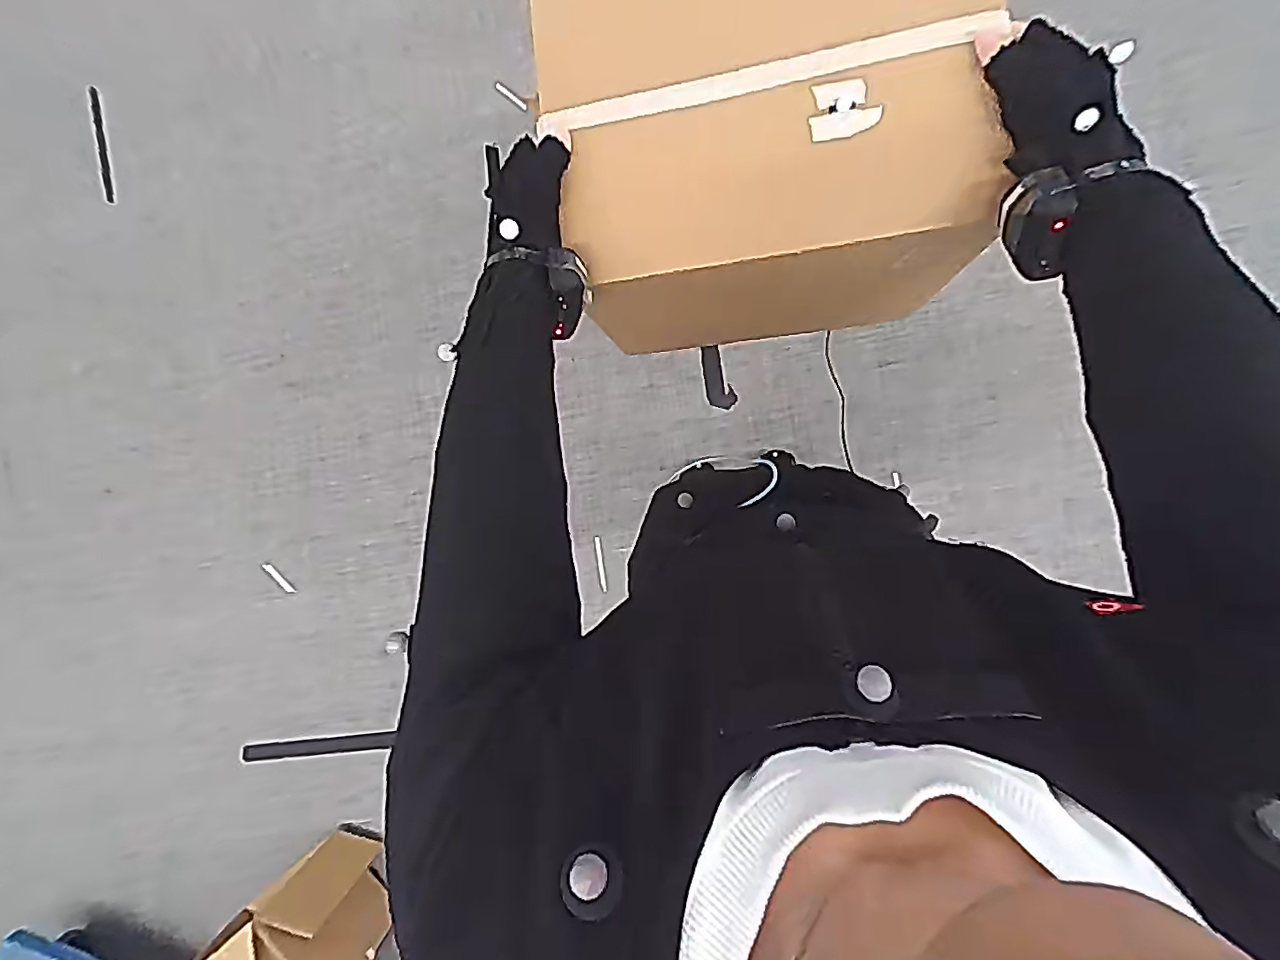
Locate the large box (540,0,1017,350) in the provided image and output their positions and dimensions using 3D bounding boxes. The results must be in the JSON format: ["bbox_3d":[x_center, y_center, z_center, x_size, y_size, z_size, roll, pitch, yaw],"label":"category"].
[{"bbox_3d":[0.132,-0.364,0.637,0.408,0.320,0.320,-6,90,9],"label":"large box"}]
